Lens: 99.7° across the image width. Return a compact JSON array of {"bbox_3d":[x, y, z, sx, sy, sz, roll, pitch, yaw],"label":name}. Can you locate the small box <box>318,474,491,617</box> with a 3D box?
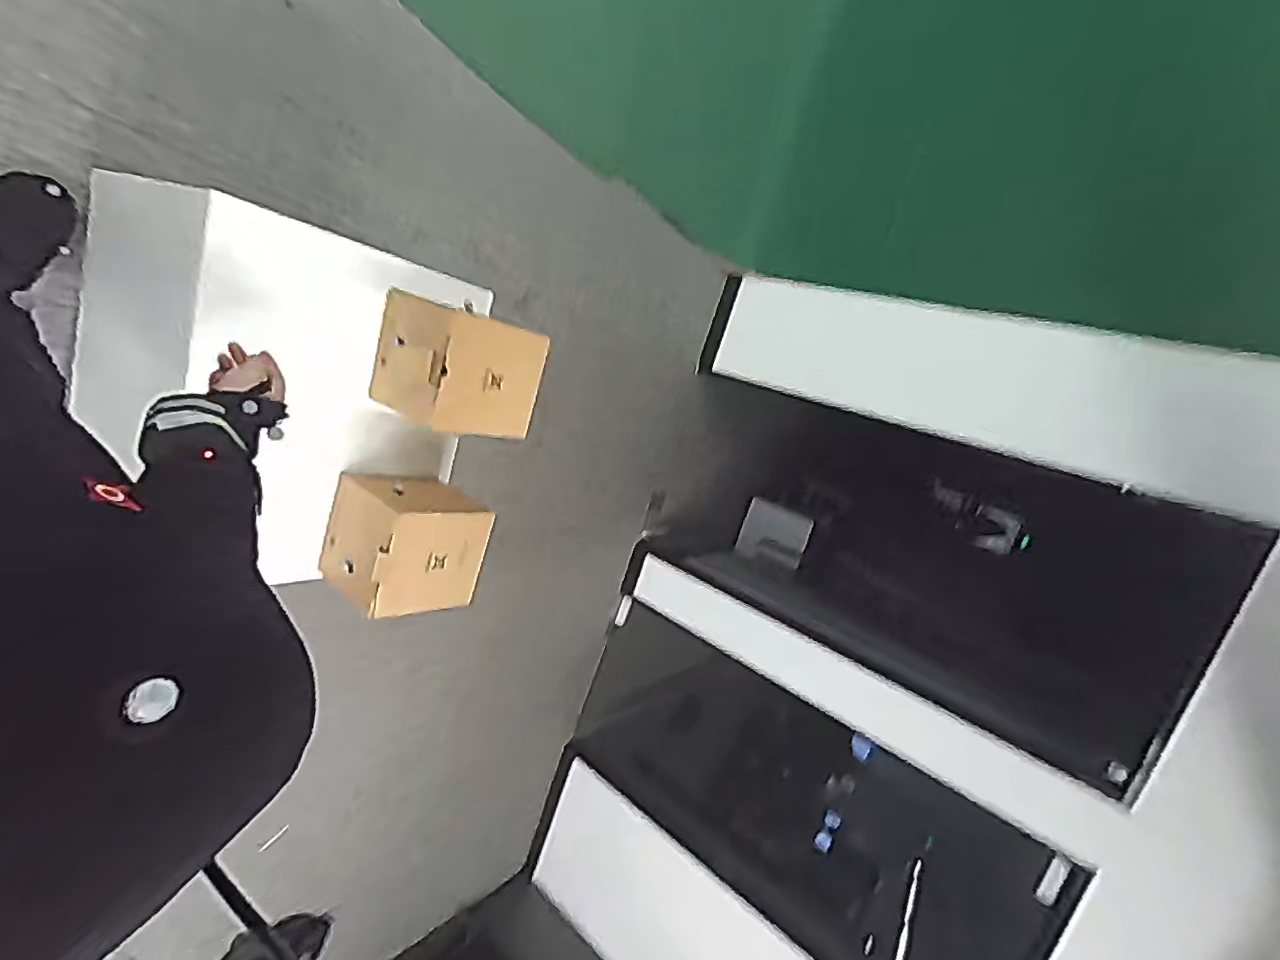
[{"bbox_3d":[-0.376,0.096,0.861,0.179,0.176,0.168,5,107,-57],"label":"small box"}]

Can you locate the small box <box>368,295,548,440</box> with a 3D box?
[{"bbox_3d":[-0.277,-0.170,0.826,0.179,0.176,0.168,1,111,-55],"label":"small box"}]
